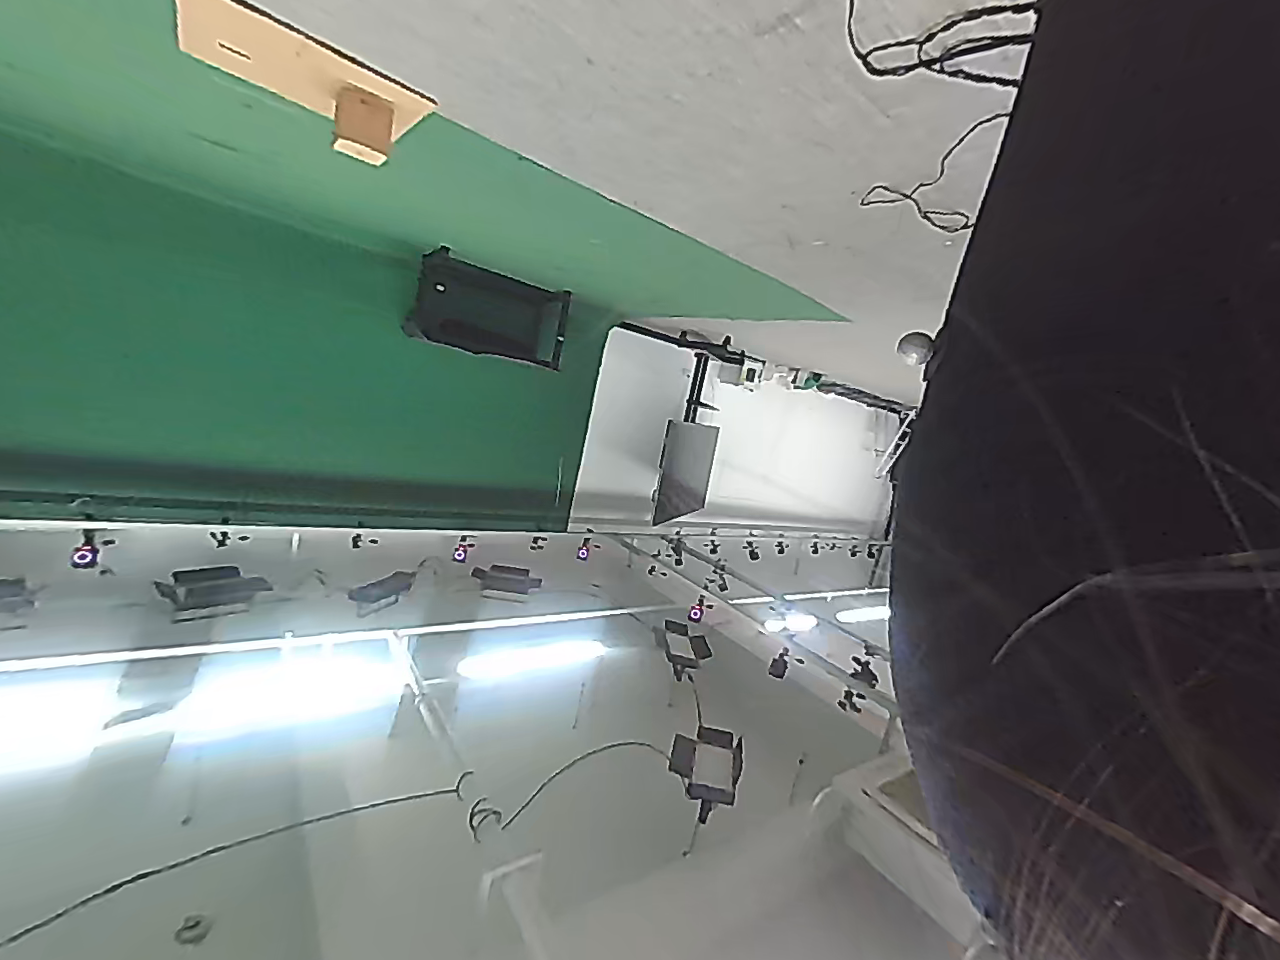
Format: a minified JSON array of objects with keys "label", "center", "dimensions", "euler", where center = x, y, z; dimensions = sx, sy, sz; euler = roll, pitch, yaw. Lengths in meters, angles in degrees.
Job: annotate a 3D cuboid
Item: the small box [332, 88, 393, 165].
[{"label":"small box","center":[-1.024,-1.301,1.995],"dimensions":[0.168,0.176,0.179],"euler":[4,-168,-39]}]
